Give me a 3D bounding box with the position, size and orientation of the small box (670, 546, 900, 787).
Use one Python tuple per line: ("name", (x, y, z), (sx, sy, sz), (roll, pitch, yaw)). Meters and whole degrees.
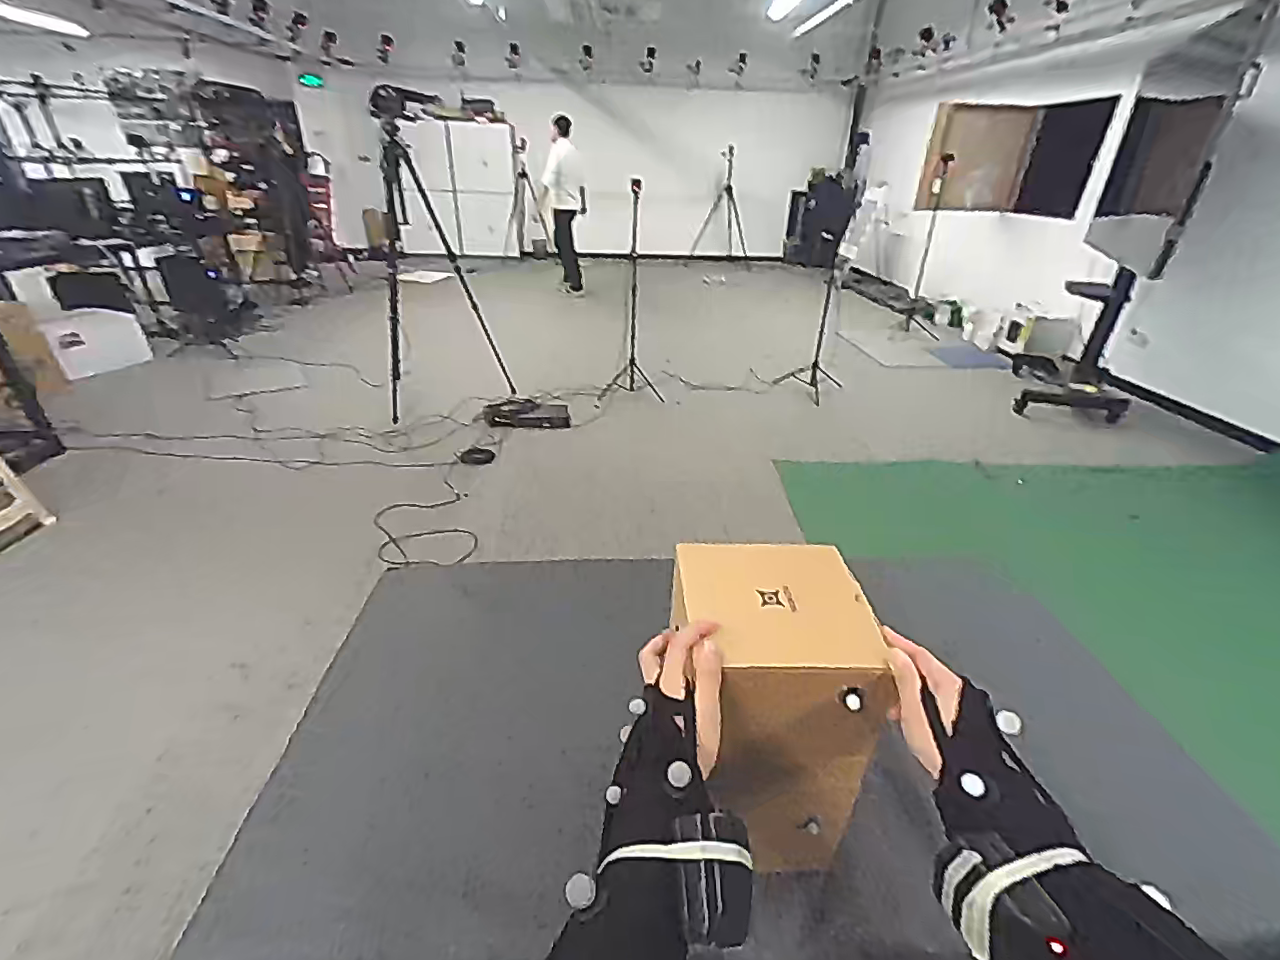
("small box", (0.123, 0.183, 0.543), (0.179, 0.176, 0.168), (1, 30, -3))
